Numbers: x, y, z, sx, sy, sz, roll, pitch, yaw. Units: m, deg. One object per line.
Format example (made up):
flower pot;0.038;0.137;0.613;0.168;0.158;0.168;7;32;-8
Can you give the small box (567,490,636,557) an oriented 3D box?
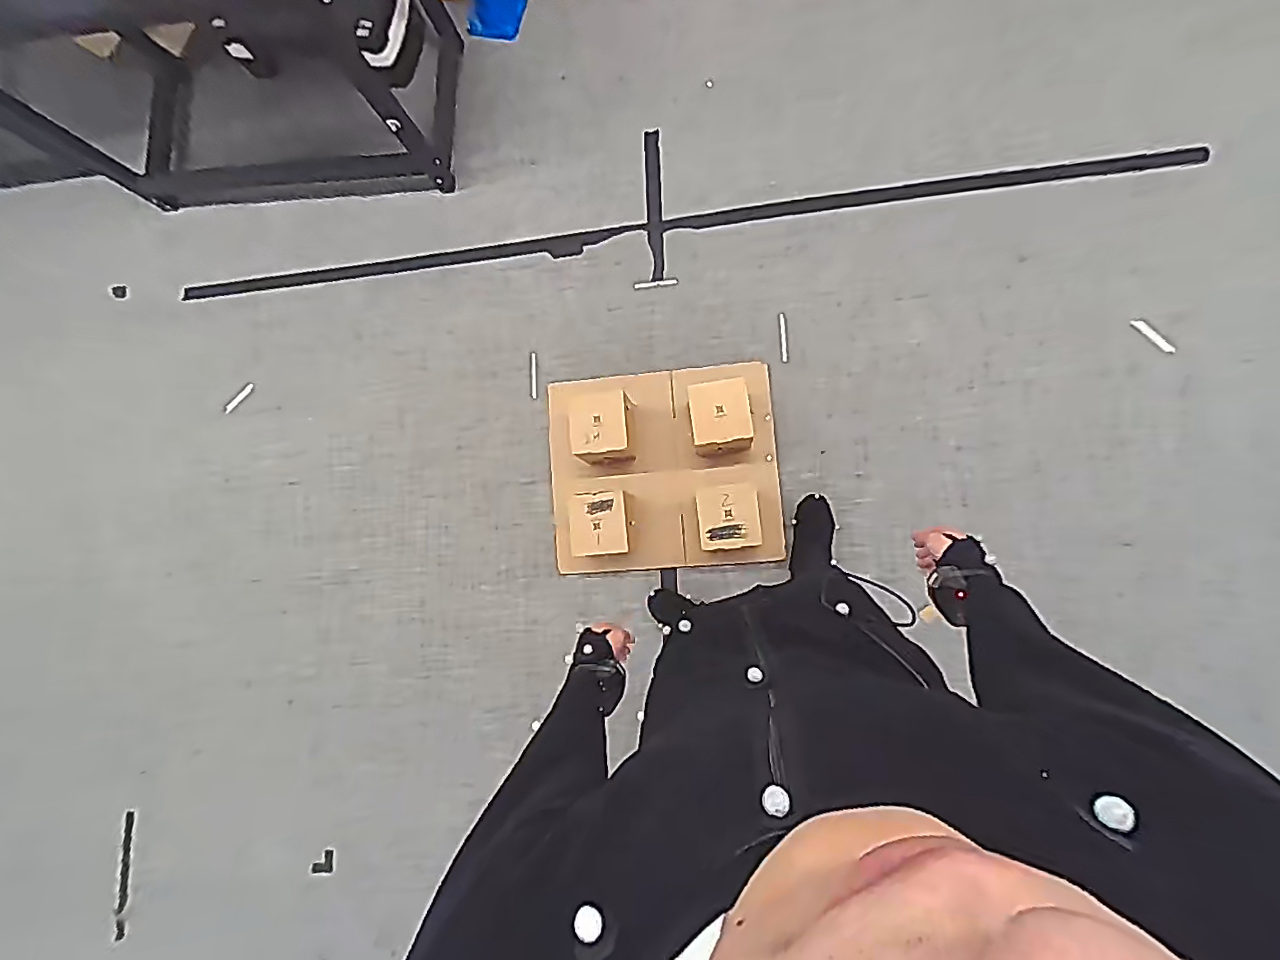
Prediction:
small box;-0.110;0.131;1.586;0.168;0.176;0.179;-6;84;8

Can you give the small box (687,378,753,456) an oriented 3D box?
small box;0.229;-0.179;1.575;0.168;0.176;0.179;-9;83;7

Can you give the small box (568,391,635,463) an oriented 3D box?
small box;-0.111;-0.153;1.615;0.168;0.176;0.179;-5;83;8
